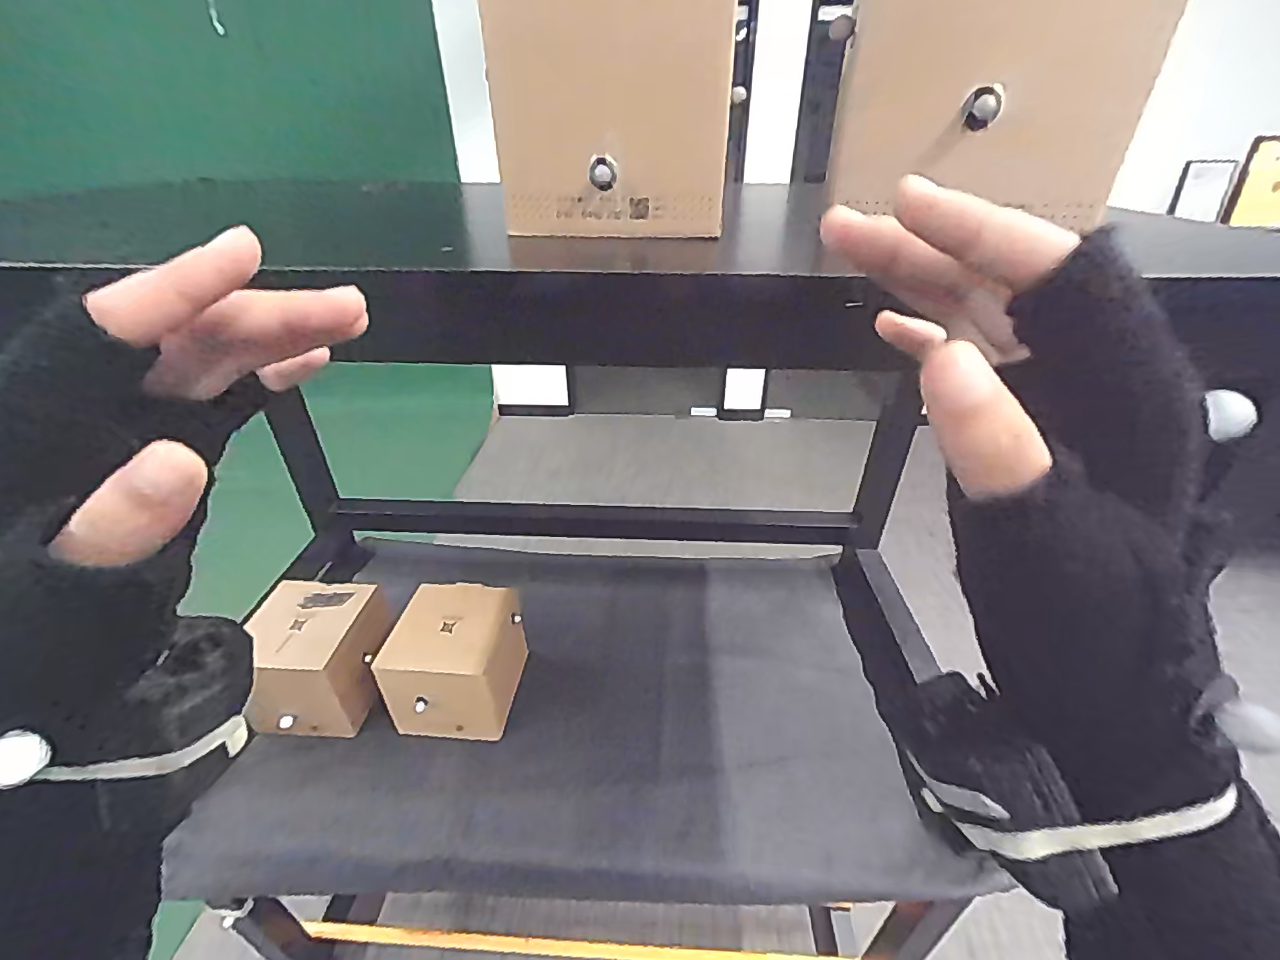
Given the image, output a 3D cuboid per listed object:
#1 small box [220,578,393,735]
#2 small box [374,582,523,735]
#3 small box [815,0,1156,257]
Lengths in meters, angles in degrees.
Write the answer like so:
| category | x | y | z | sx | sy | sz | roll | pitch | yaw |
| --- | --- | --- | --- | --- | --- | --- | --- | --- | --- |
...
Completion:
| category | x | y | z | sx | sy | sz | roll | pitch | yaw |
| --- | --- | --- | --- | --- | --- | --- | --- | --- | --- |
| small box | -0.523 | 0.285 | 0.887 | 0.168 | 0.176 | 0.179 | 2 | 33 | 2 |
| small box | -0.296 | 0.291 | 0.885 | 0.168 | 0.176 | 0.179 | 3 | 32 | 3 |
| small box | 0.231 | -0.272 | 0.407 | 0.168 | 0.176 | 0.179 | 8 | 33 | 12 |
